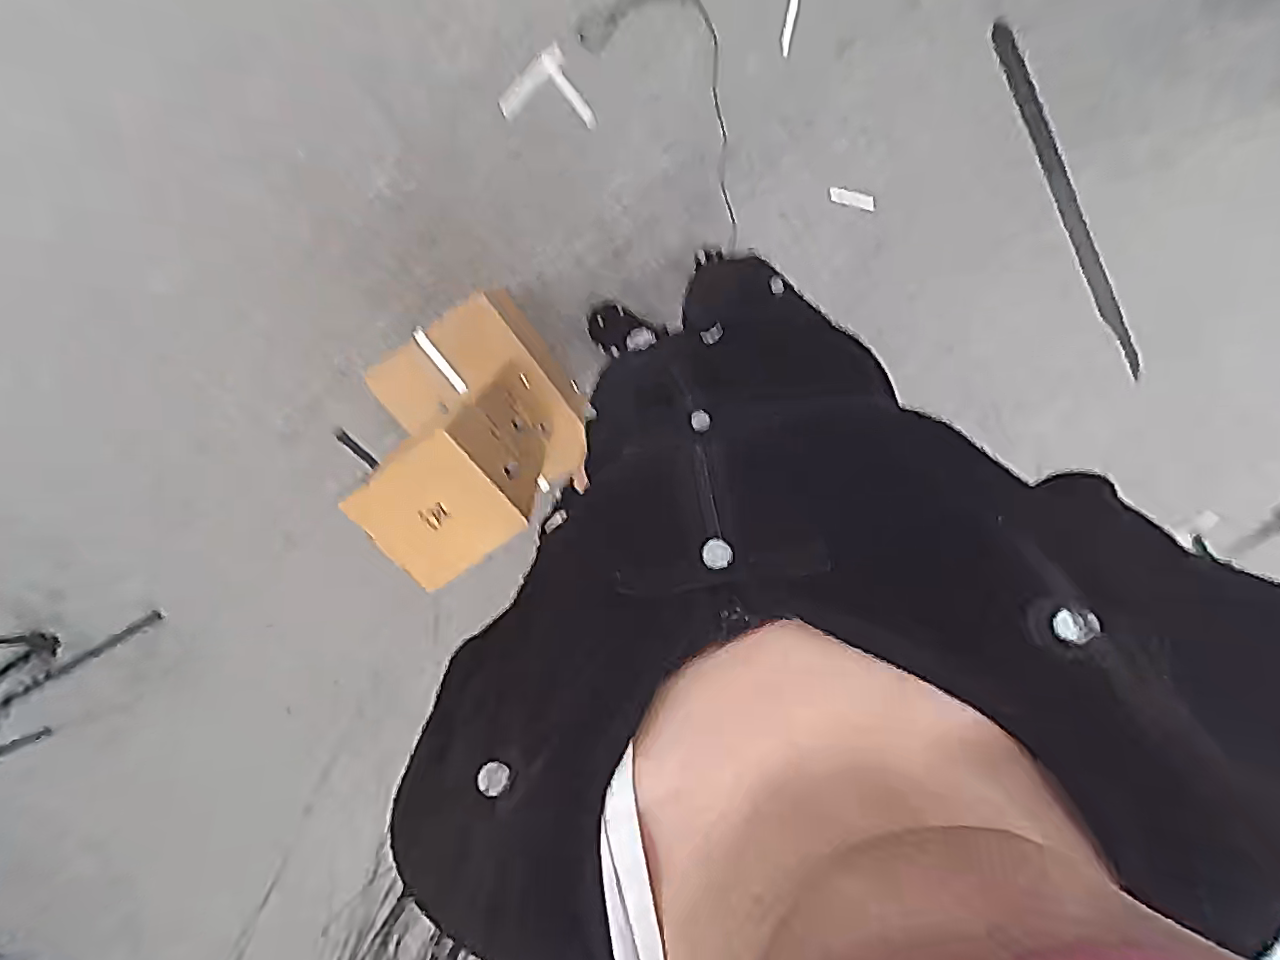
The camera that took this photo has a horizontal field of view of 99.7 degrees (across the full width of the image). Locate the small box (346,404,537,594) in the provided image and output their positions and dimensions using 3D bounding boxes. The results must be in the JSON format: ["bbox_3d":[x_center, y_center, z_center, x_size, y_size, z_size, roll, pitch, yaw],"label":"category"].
[{"bbox_3d":[-0.260,0.017,0.761,0.179,0.176,0.168,-35,111,9],"label":"small box"}]

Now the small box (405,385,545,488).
[{"bbox_3d":[-0.276,-0.039,0.914,0.179,0.176,0.168,-33,110,7],"label":"small box"}]
